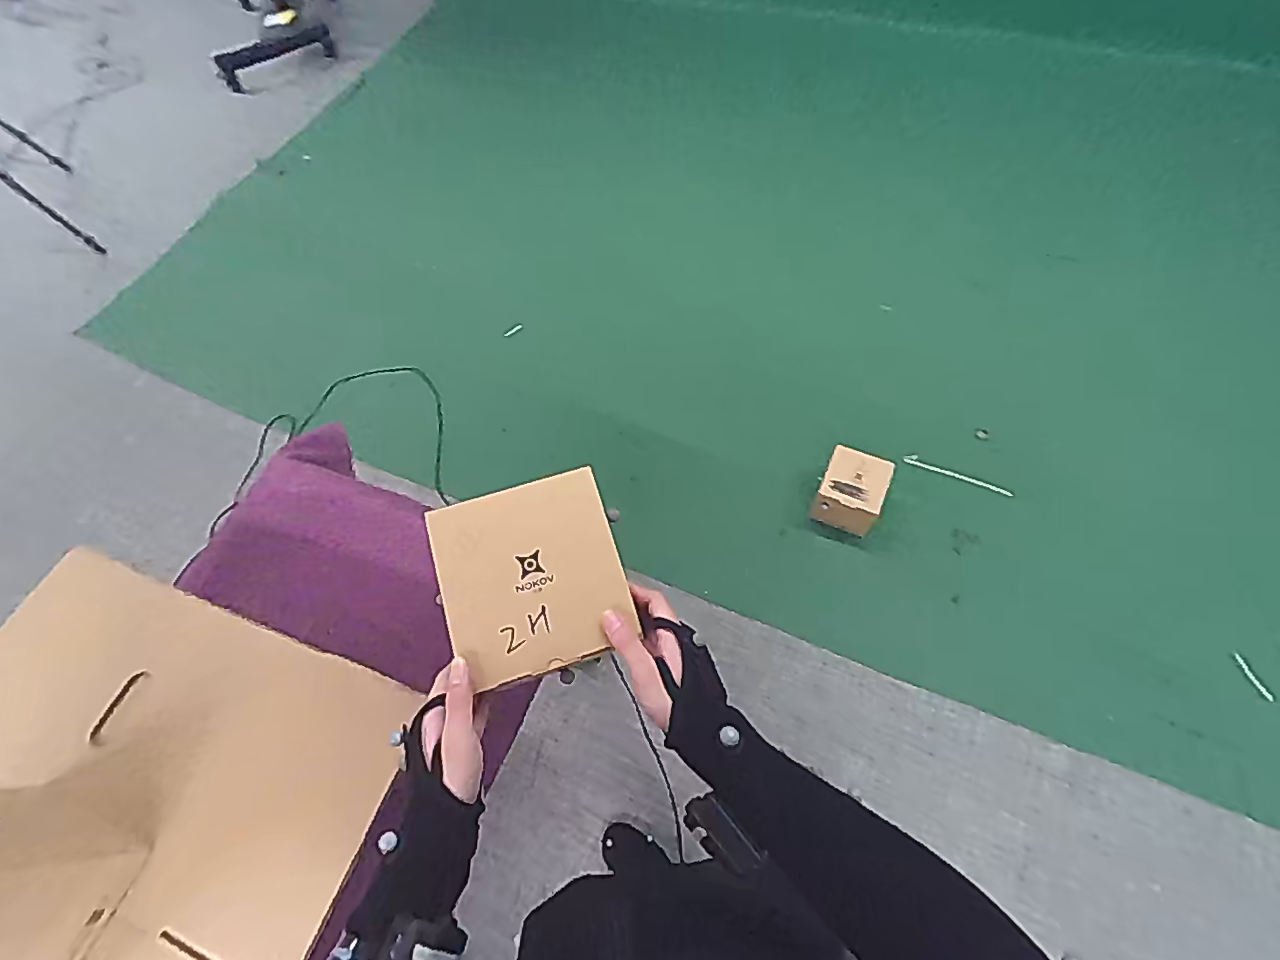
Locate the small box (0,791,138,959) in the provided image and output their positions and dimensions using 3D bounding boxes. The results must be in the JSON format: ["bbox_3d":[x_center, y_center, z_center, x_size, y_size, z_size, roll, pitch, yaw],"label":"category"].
[{"bbox_3d":[-0.642,0.402,0.497,0.179,0.176,0.168,16,64,13],"label":"small box"}]
